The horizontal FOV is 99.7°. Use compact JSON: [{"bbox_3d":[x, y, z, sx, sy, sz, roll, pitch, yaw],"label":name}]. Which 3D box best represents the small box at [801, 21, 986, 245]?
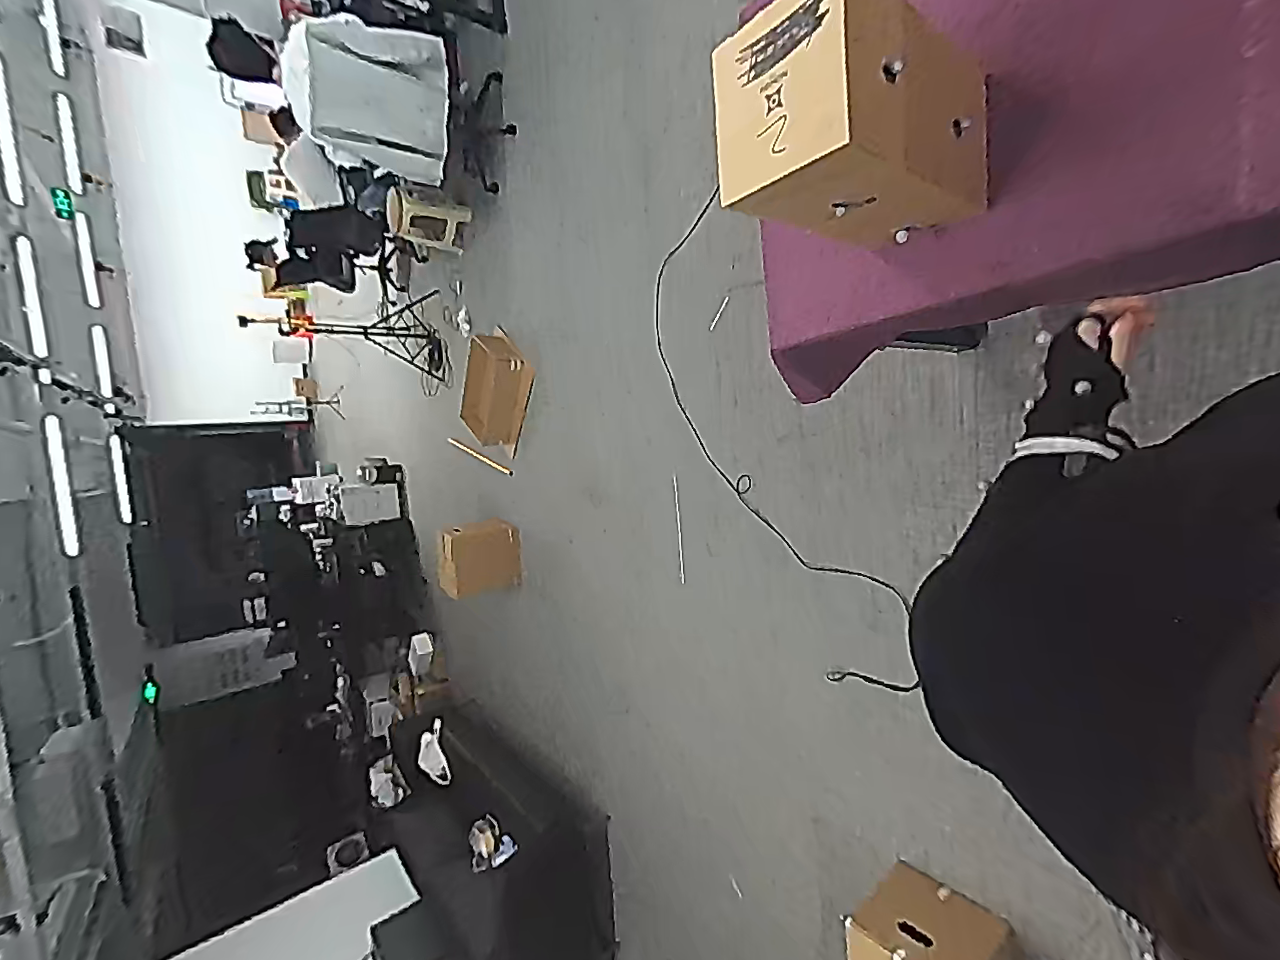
[{"bbox_3d":[0.333,-0.431,0.712,0.168,0.176,0.179,2,99,52],"label":"small box"}]
